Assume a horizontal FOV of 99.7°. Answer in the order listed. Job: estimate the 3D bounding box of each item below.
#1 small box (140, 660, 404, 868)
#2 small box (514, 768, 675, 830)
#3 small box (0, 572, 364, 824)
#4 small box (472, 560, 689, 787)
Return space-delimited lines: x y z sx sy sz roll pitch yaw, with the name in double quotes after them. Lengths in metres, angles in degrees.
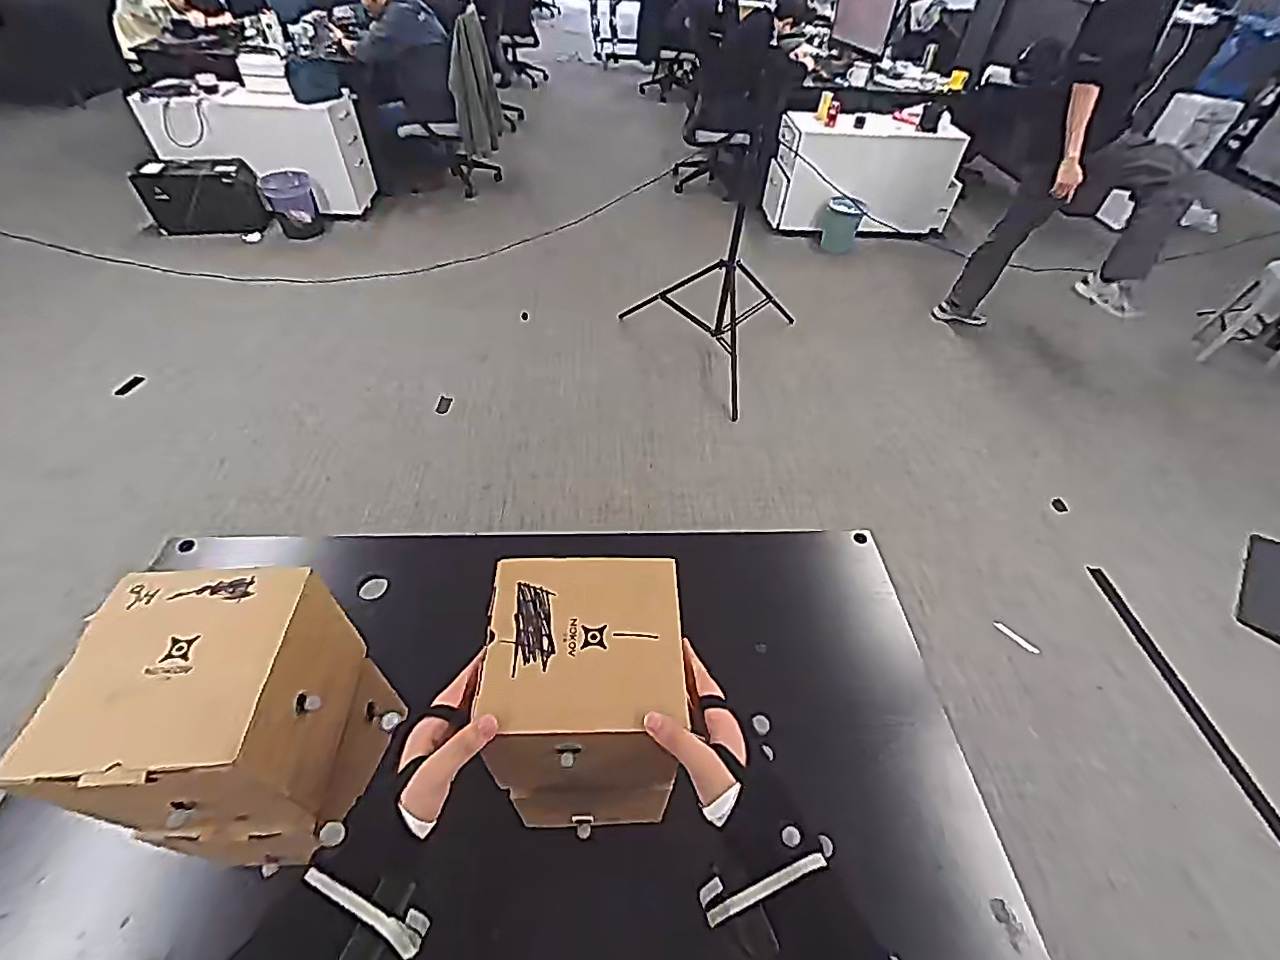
-0.388 0.323 0.617 0.168 0.176 0.179 1 48 -3 "small box"
-0.054 0.306 0.660 0.168 0.176 0.179 -2 49 -4 "small box"
-0.382 0.206 0.502 0.168 0.176 0.179 -1 48 -6 "small box"
-0.051 0.195 0.539 0.179 0.176 0.168 0 48 -3 "small box"
